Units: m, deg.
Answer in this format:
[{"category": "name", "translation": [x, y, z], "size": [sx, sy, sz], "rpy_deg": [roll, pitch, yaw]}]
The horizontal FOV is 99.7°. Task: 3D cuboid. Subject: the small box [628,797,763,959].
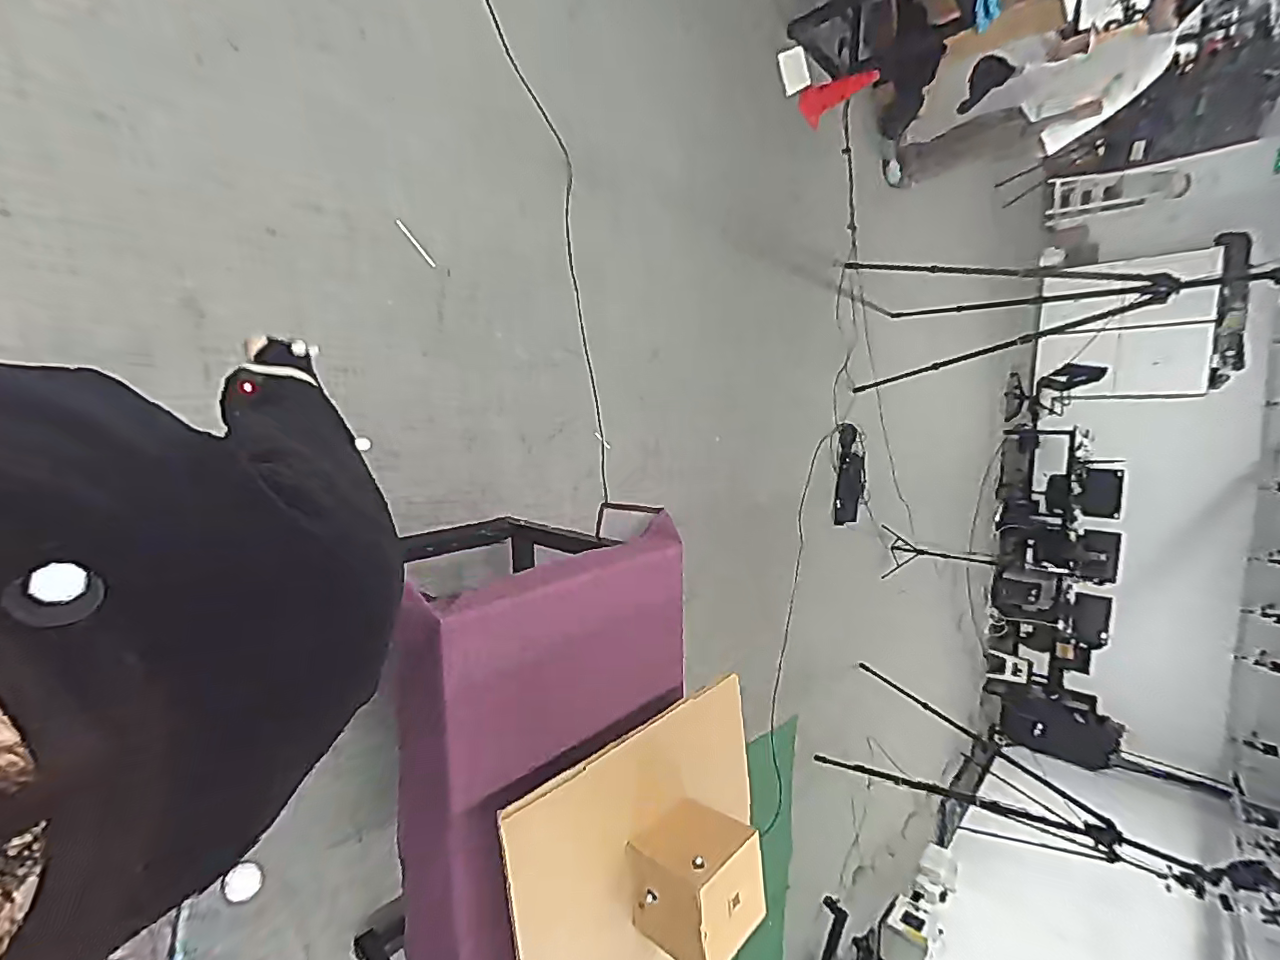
[{"category": "small box", "translation": [0.101, 0.718, 0.980], "size": [0.179, 0.176, 0.168], "rpy_deg": [-9, 95, -43]}]
